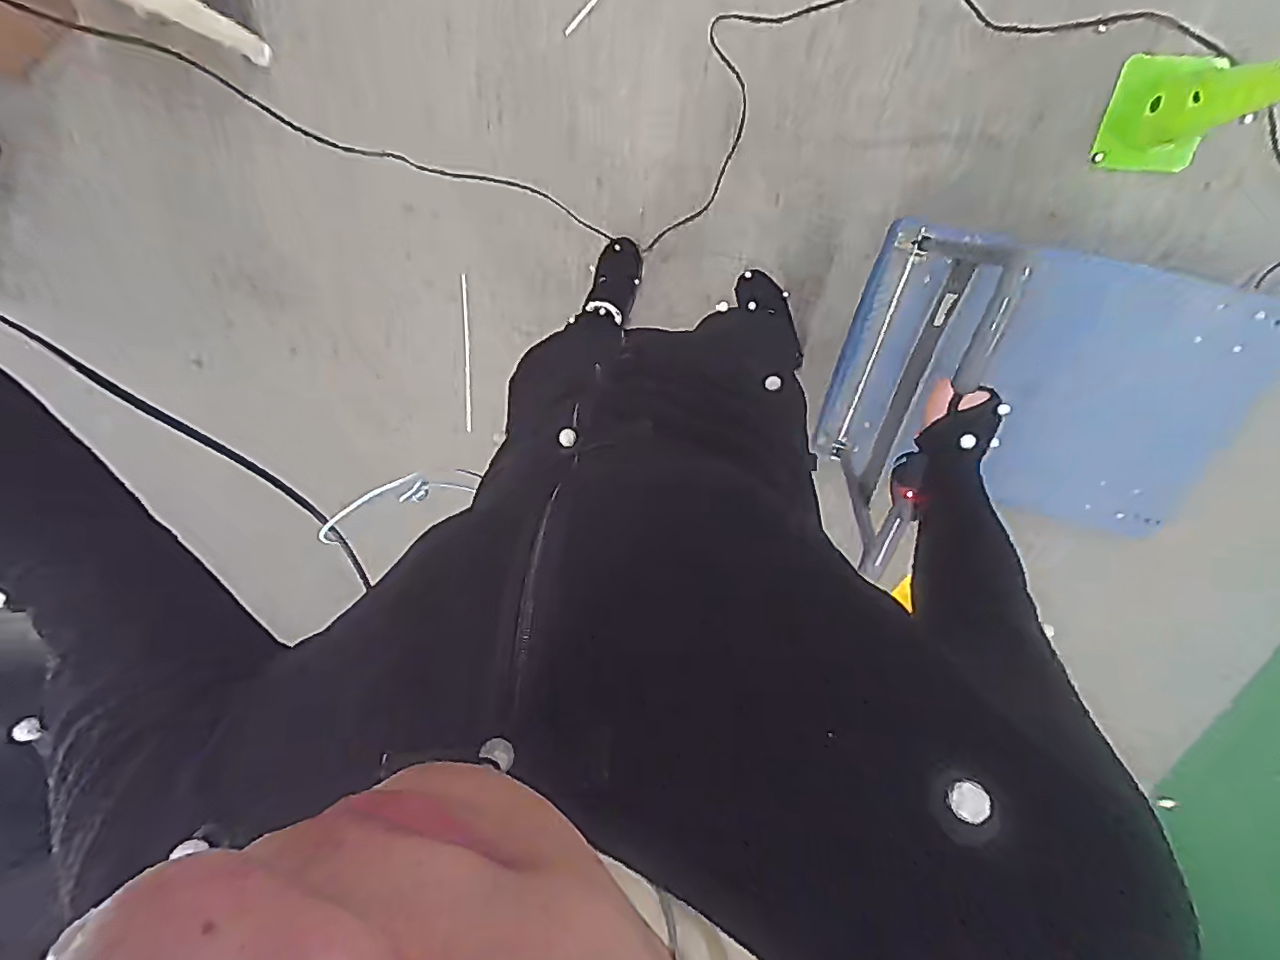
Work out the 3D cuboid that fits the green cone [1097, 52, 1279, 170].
[{"bbox_3d":[1.063,-0.695,0.969,0.200,0.368,0.202,7,114,7],"label":"green cone"}]
